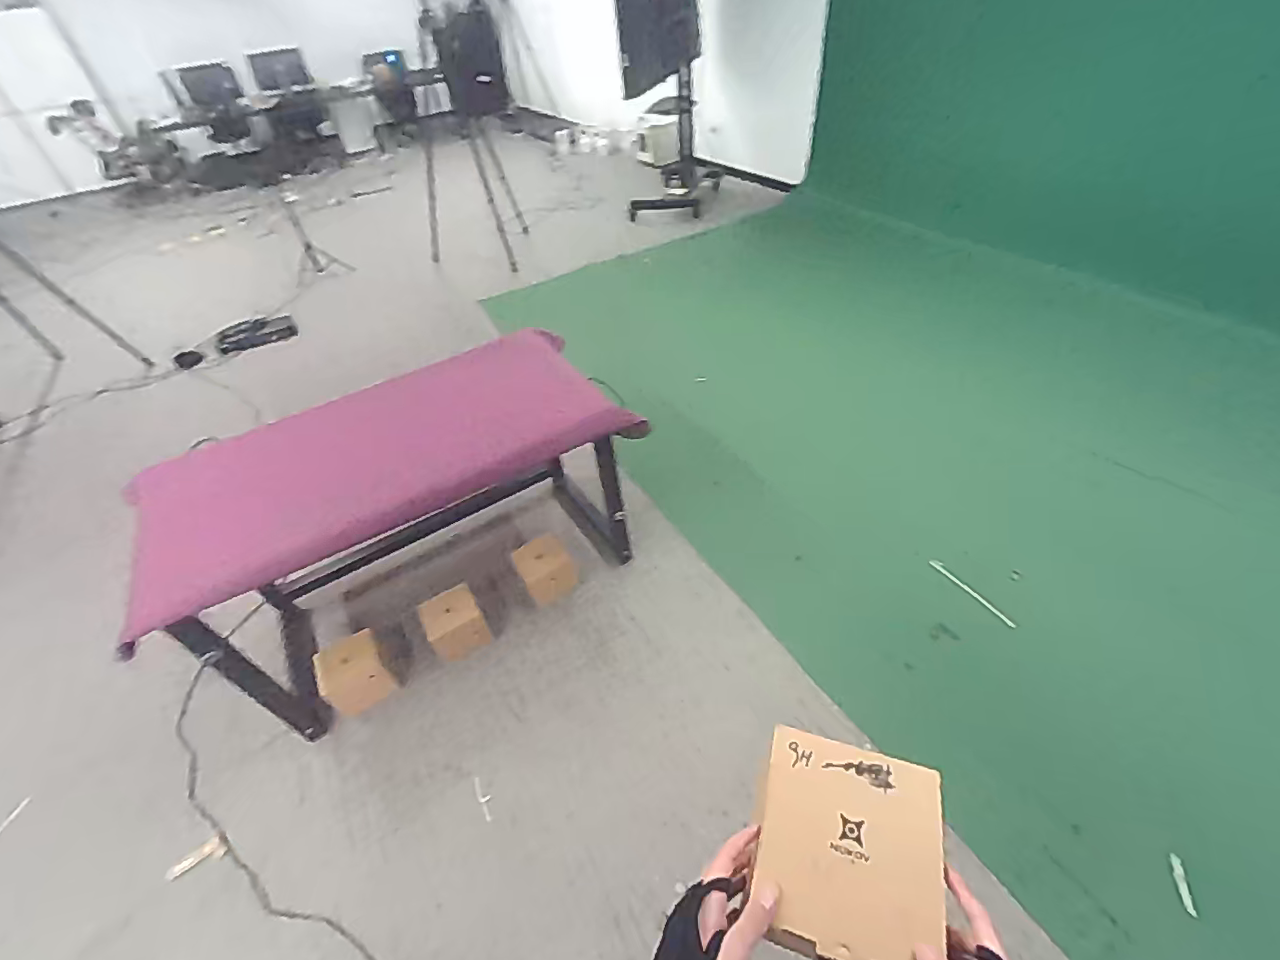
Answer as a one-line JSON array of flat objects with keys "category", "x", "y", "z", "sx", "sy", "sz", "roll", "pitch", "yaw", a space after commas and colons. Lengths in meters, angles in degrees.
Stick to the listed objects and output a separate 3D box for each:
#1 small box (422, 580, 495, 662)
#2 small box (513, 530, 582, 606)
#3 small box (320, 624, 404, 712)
[{"category": "small box", "x": -0.608, "y": 0.478, "z": 1.834, "sx": 0.179, "sy": 0.176, "sz": 0.168, "roll": -27, "pitch": 46, "yaw": -18}, {"category": "small box", "x": -0.330, "y": 0.321, "z": 1.956, "sx": 0.179, "sy": 0.176, "sz": 0.168, "roll": -29, "pitch": 48, "yaw": -21}, {"category": "small box", "x": -0.891, "y": 0.609, "z": 1.739, "sx": 0.179, "sy": 0.176, "sz": 0.168, "roll": -27, "pitch": 47, "yaw": -19}]
